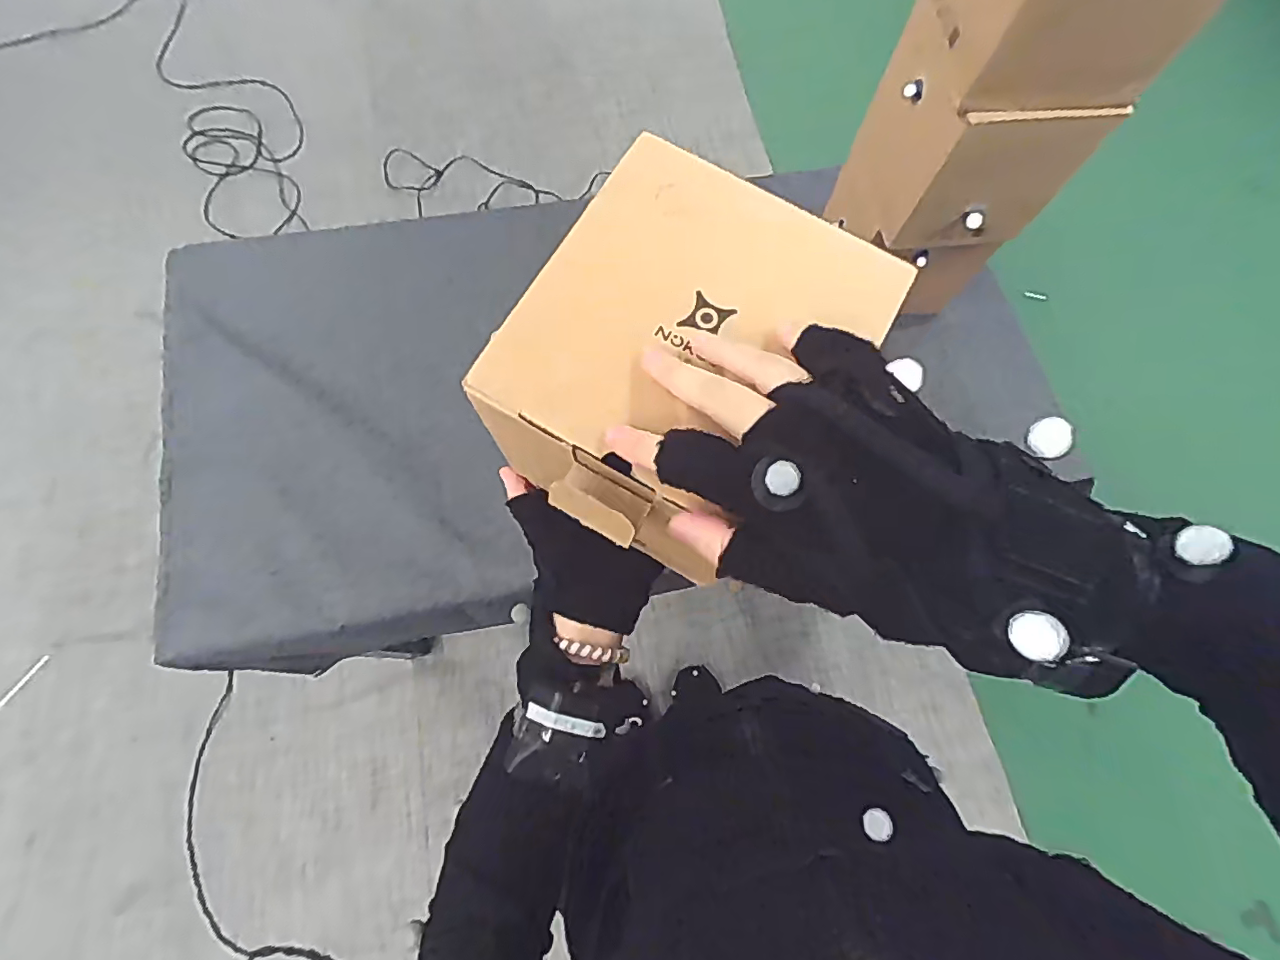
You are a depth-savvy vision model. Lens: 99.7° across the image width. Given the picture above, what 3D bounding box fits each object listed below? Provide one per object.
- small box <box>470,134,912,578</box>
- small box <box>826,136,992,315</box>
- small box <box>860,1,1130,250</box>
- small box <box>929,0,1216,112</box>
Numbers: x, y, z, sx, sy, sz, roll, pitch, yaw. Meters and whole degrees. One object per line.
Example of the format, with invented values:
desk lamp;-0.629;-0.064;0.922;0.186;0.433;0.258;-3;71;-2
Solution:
small box;0.026;-0.056;0.341;0.168;0.176;0.179;29;76;5
small box;0.372;-0.352;0.769;0.179;0.176;0.168;1;71;-2
small box;0.372;-0.389;0.608;0.168;0.176;0.179;-5;72;-3
small box;0.373;-0.445;0.455;0.179;0.176;0.168;-3;72;-3
